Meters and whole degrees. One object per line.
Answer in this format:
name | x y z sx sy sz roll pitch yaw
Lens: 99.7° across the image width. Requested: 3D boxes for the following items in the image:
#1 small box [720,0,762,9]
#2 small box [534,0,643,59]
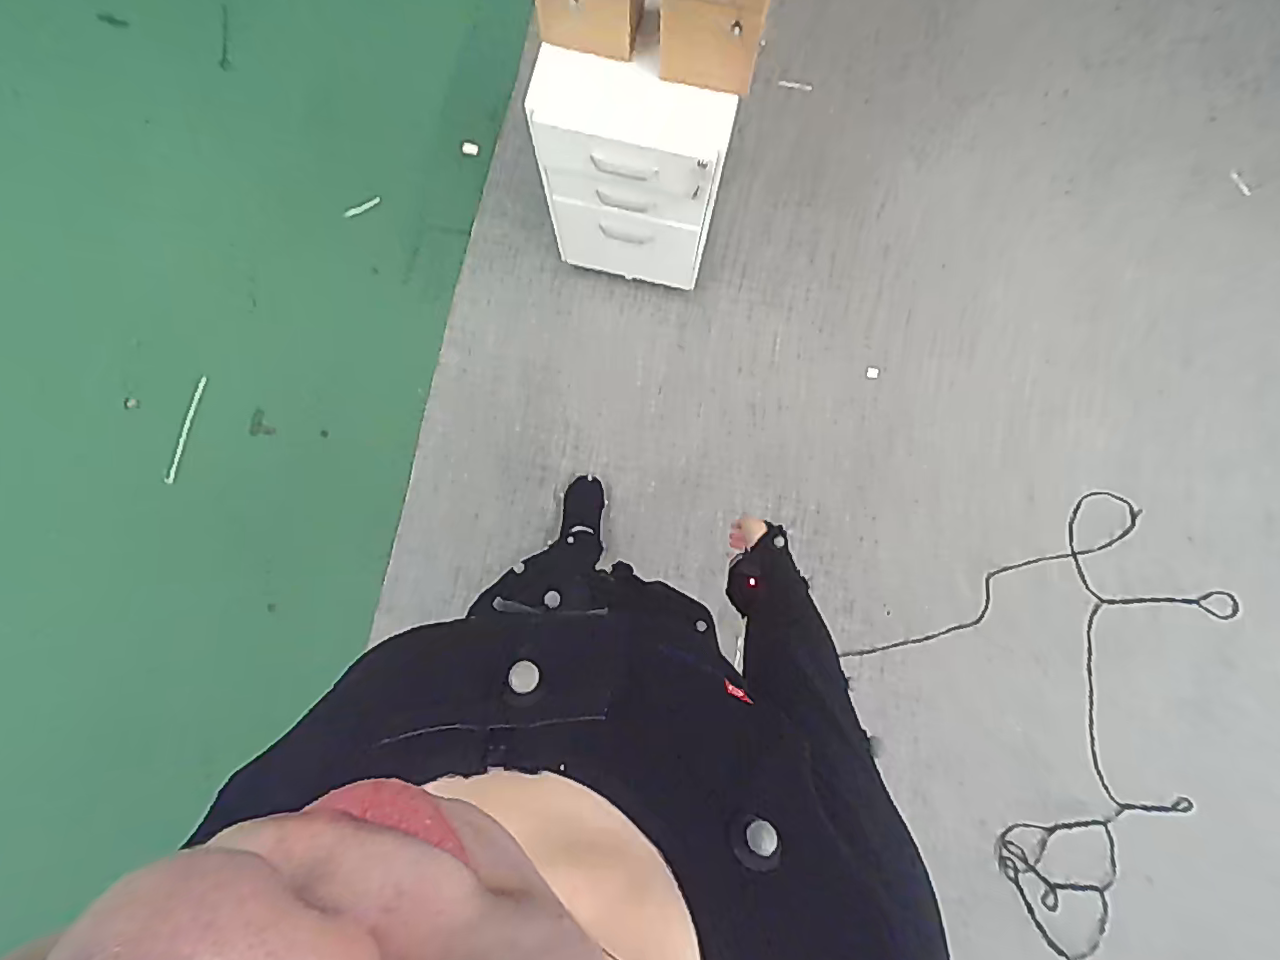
small box | 0.135 -0.860 0.800 0.168 0.176 0.179 14 82 0
small box | -0.091 -0.907 0.968 0.179 0.176 0.168 12 83 -1
